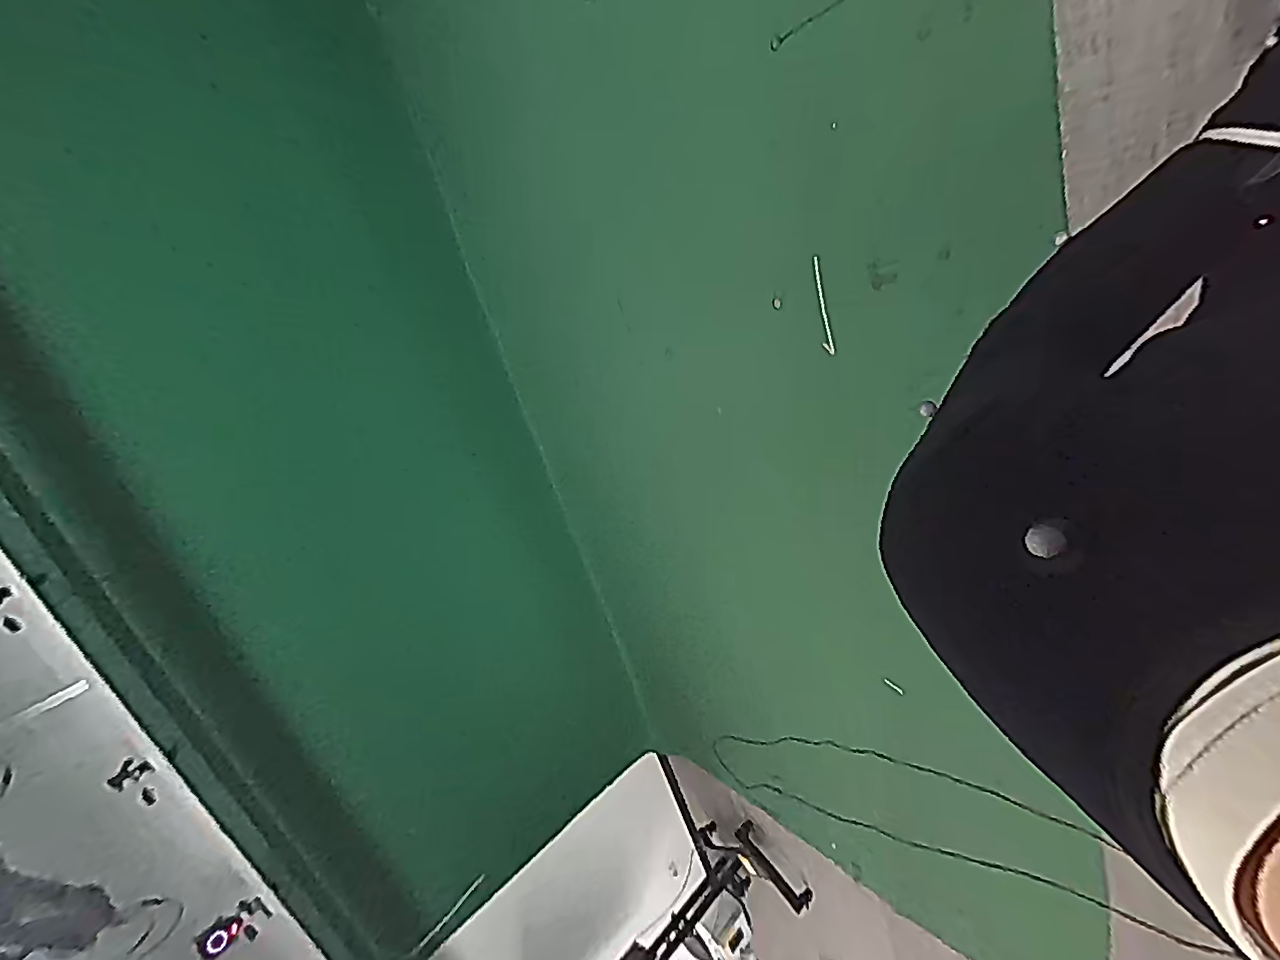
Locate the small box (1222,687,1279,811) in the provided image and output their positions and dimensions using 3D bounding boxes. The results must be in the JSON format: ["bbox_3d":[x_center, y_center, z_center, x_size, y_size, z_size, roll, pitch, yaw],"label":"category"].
[{"bbox_3d":[1.364,0.577,1.133,0.168,0.176,0.179,11,124,49],"label":"small box"}]

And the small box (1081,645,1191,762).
[{"bbox_3d":[1.204,0.531,1.313,0.179,0.176,0.168,9,121,50],"label":"small box"}]
